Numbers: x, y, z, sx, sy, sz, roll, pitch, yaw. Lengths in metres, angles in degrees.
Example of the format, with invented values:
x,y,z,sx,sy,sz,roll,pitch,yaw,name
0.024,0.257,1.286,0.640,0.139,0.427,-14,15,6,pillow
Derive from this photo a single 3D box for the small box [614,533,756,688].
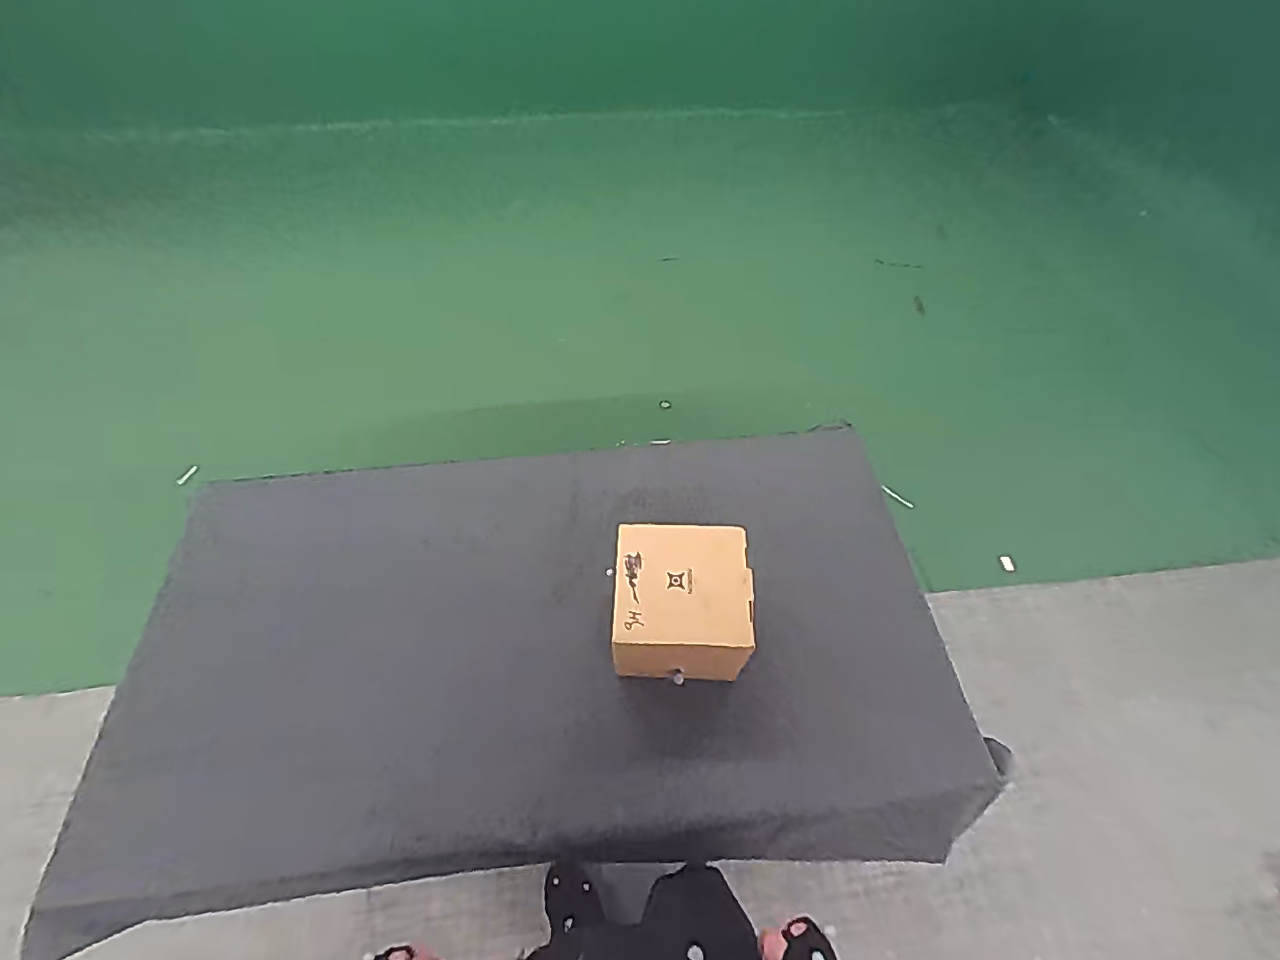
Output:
x,y,z,sx,sy,sz,roll,pitch,yaw,name
0.056,0.189,0.766,0.179,0.176,0.168,2,56,0,small box
